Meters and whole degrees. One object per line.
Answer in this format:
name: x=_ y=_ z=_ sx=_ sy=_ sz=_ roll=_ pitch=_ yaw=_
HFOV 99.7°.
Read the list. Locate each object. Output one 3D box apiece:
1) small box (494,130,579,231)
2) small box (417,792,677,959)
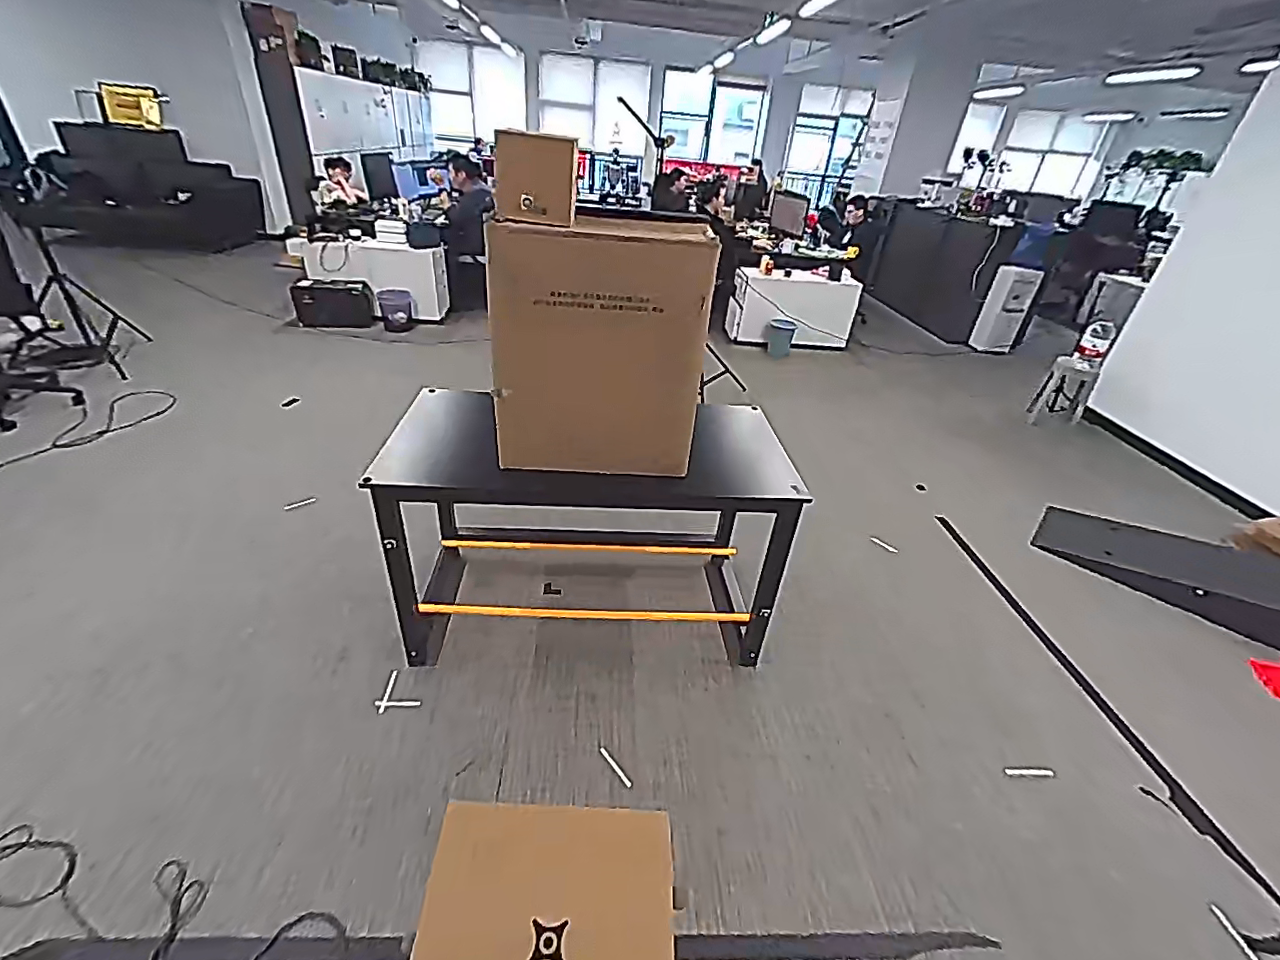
small box: x=-0.227 y=-0.667 z=1.205 sx=0.168 sy=0.176 sz=0.179 roll=3 pitch=34 yaw=-6
small box: x=-0.067 y=0.358 z=0.396 sx=0.168 sy=0.176 sz=0.179 roll=5 pitch=41 yaw=-4
